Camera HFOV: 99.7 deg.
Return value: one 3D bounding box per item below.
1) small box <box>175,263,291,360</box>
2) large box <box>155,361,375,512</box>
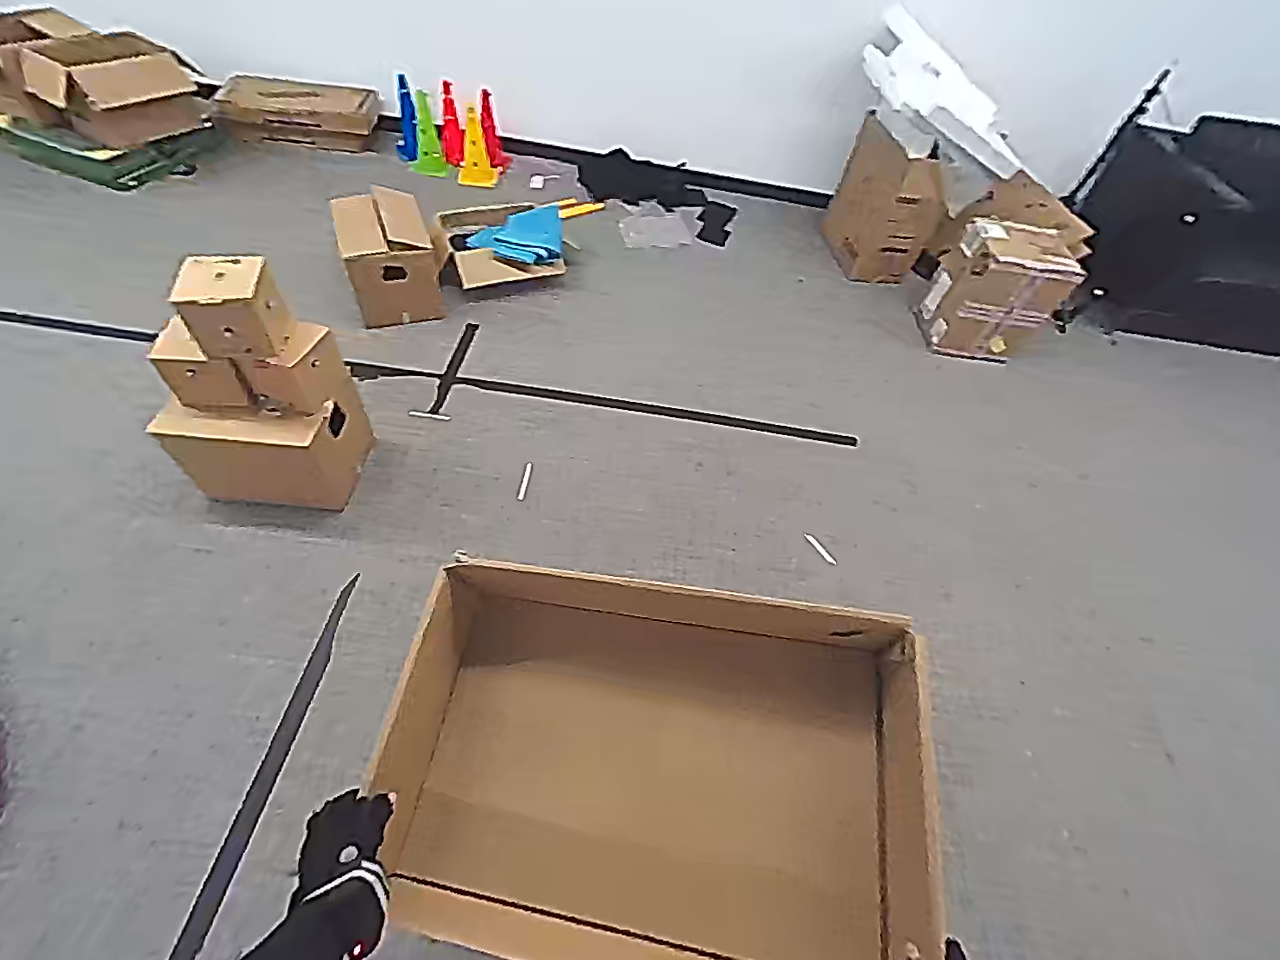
[{"bbox_3d":[-0.991,-0.411,1.336,0.168,0.176,0.179,-5,55,-14],"label":"small box"},{"bbox_3d":[-1.076,-0.121,1.616,0.408,0.320,0.320,5,53,-7],"label":"large box"}]
